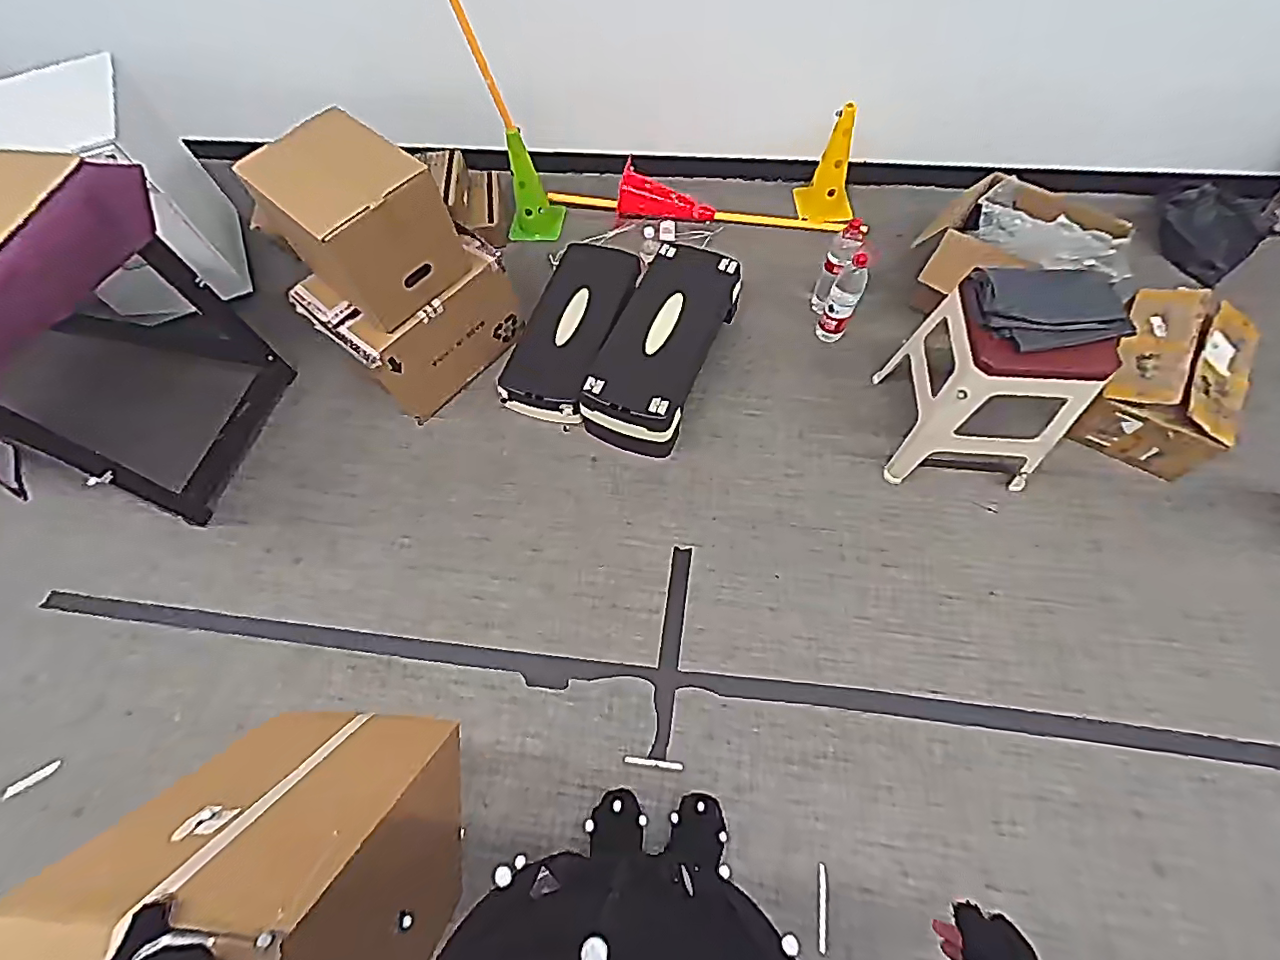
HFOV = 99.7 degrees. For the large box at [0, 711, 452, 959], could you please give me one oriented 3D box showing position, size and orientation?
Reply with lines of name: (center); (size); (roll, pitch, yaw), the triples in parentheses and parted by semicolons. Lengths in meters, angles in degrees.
large box: (-0.482, 0.570, 0.738); (0.320, 0.408, 0.320); (1, 95, 5)
